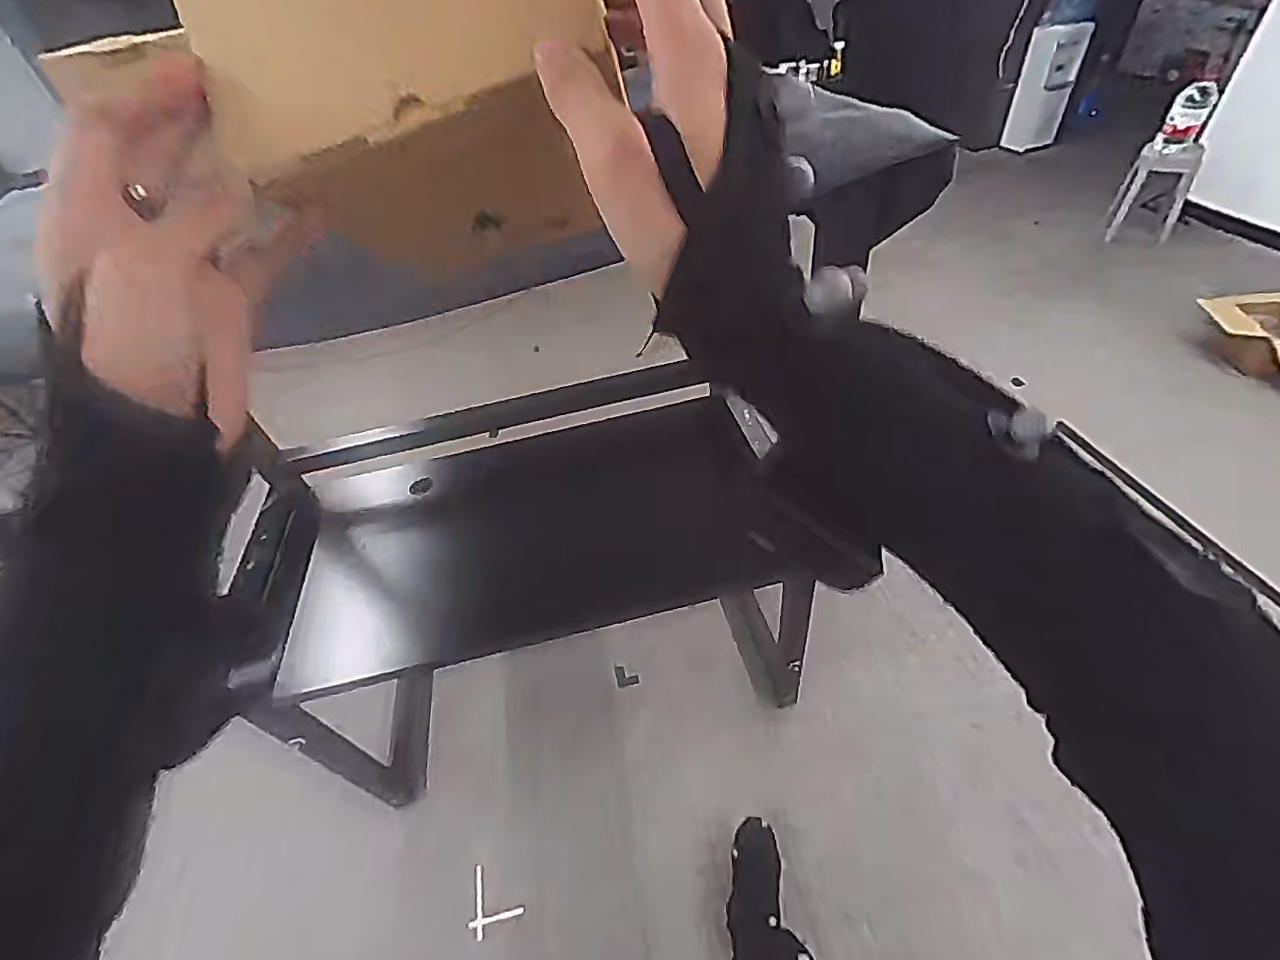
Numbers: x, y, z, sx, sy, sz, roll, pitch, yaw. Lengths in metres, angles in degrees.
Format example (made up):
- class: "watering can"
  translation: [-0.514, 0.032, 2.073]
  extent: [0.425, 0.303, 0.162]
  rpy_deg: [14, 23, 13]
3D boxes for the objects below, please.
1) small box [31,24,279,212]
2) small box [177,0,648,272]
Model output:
- class: "small box"
  translation: [-0.570, -0.459, 0.689]
  extent: [0.168, 0.176, 0.179]
  rpy_deg: [-11, 46, -2]
- class: "small box"
  translation: [-0.099, -0.234, 0.281]
  extent: [0.168, 0.179, 0.176]
  rpy_deg: [-15, 7, 8]
